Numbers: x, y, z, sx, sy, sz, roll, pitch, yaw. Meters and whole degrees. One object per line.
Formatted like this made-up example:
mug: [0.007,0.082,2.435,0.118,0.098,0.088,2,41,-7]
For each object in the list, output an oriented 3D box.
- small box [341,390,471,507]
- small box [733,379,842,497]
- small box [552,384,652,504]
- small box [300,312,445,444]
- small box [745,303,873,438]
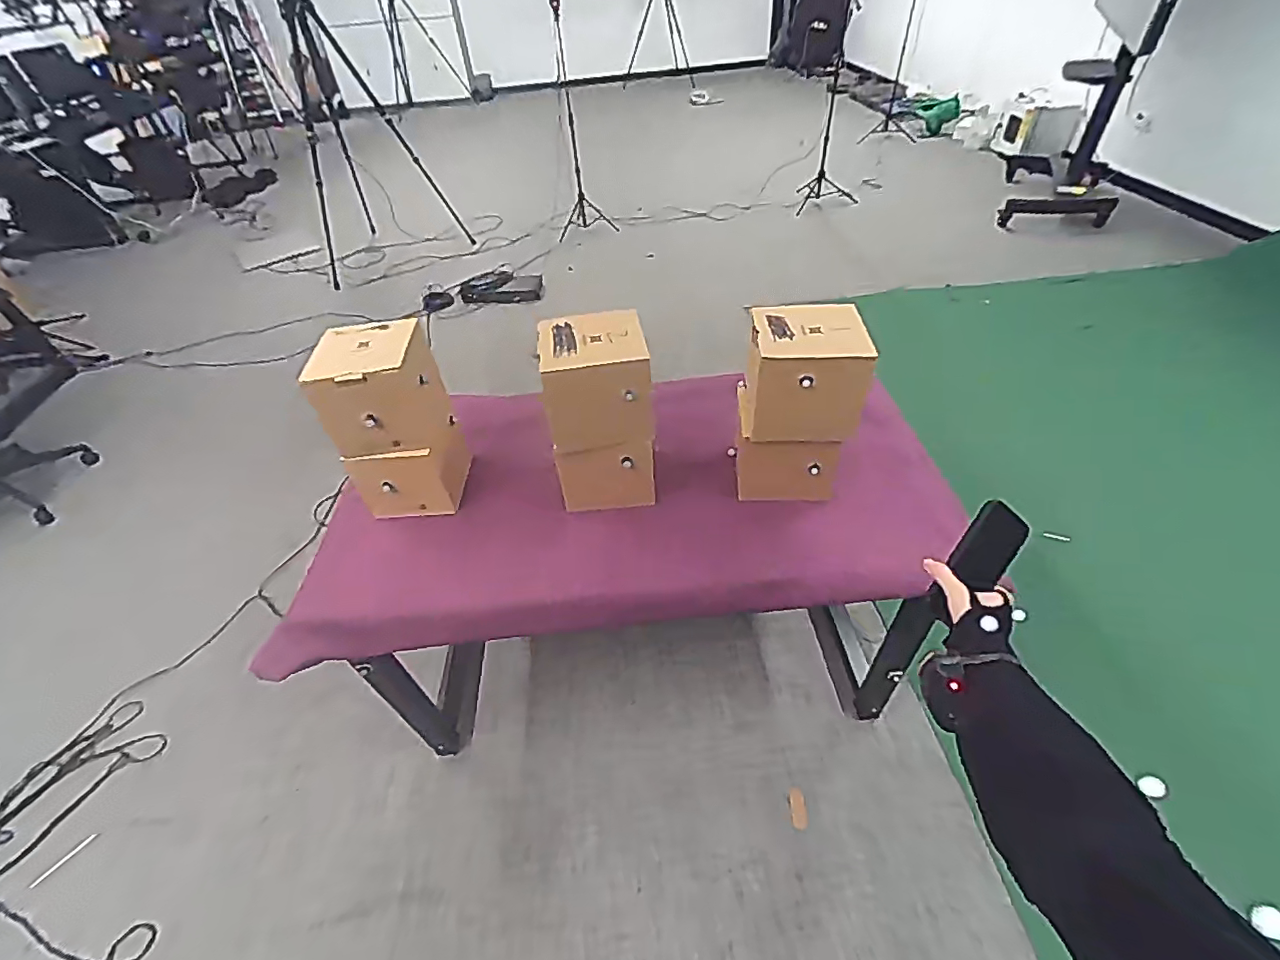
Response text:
small box: [-0.456,-0.058,1.089,0.168,0.176,0.179,-3,45,2]
small box: [0.274,-0.079,1.046,0.179,0.176,0.168,0,45,7]
small box: [-0.066,-0.069,1.064,0.179,0.176,0.168,-4,45,2]
small box: [-0.467,-0.179,0.978,0.168,0.176,0.179,-6,46,-2]
small box: [0.272,-0.184,0.919,0.179,0.176,0.168,1,45,5]
